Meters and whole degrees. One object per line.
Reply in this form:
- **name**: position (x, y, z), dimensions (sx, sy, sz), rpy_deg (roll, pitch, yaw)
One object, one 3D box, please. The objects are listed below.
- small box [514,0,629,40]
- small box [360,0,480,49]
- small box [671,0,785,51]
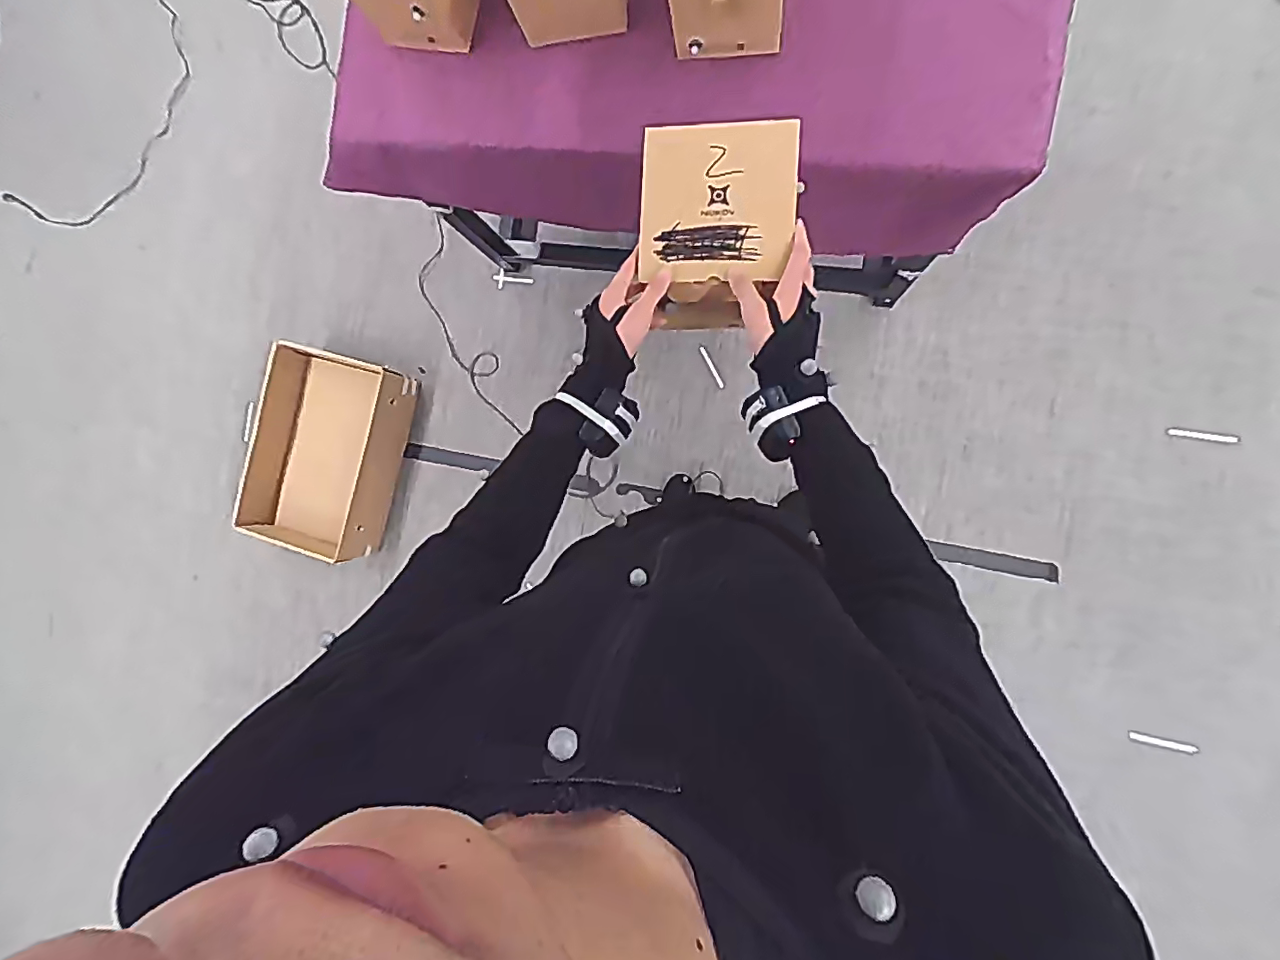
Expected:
- **small box**: position (-0.119, -0.837, 0.847), dimensions (0.179, 0.176, 0.168), rpy_deg (0, 91, 10)
- **small box**: position (-0.375, -0.864, 0.895), dimensions (0.168, 0.176, 0.179), rpy_deg (14, 92, 9)
- **small box**: position (0.135, -0.779, 0.801), dimensions (0.168, 0.176, 0.179), rpy_deg (4, 90, 10)
